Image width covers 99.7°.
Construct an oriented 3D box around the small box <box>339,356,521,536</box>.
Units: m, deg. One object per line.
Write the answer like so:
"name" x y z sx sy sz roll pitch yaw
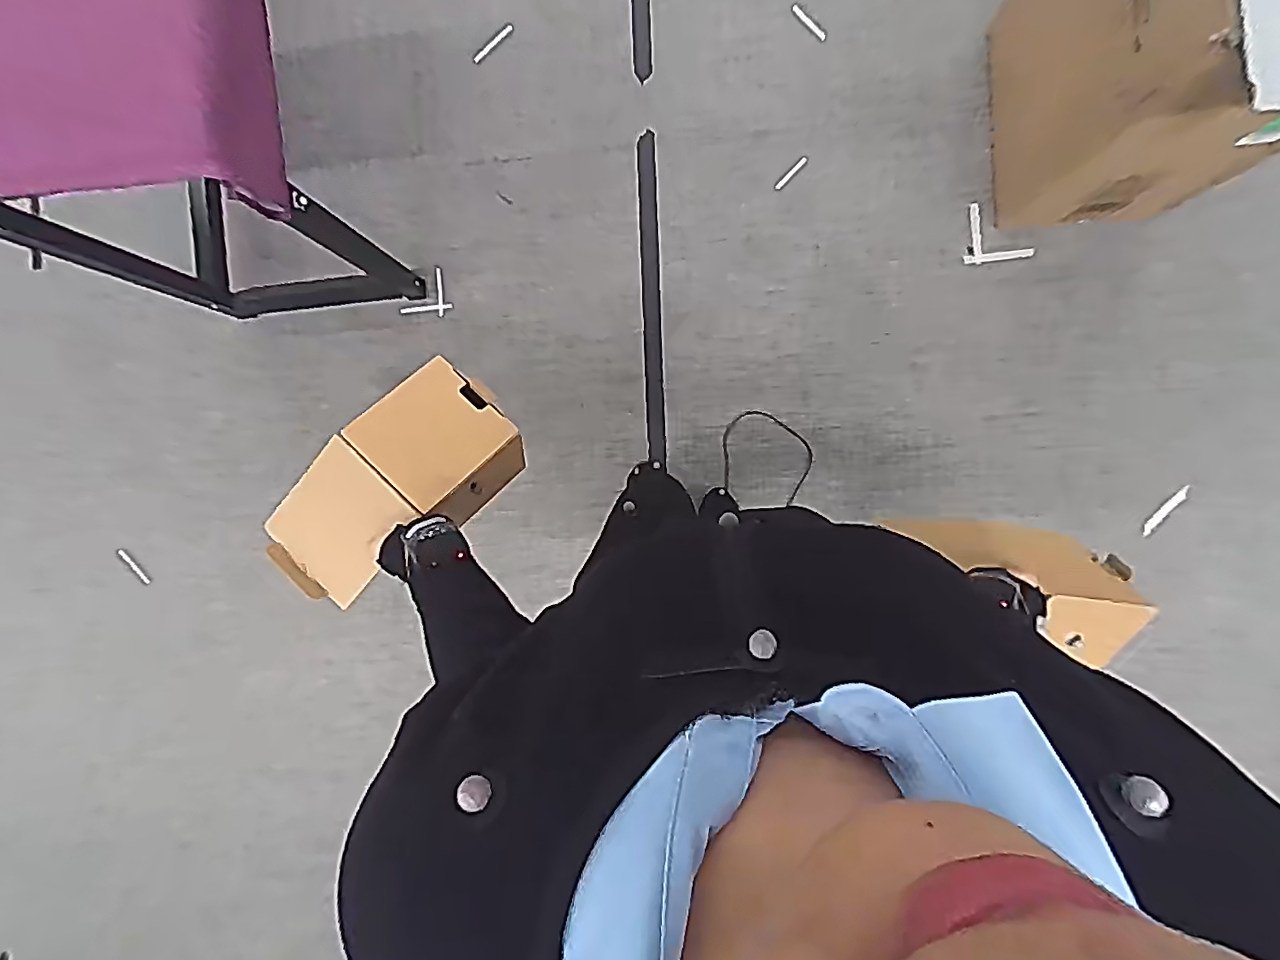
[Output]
"small box" -0.292 -0.040 0.800 0.168 0.176 0.179 43 71 5
